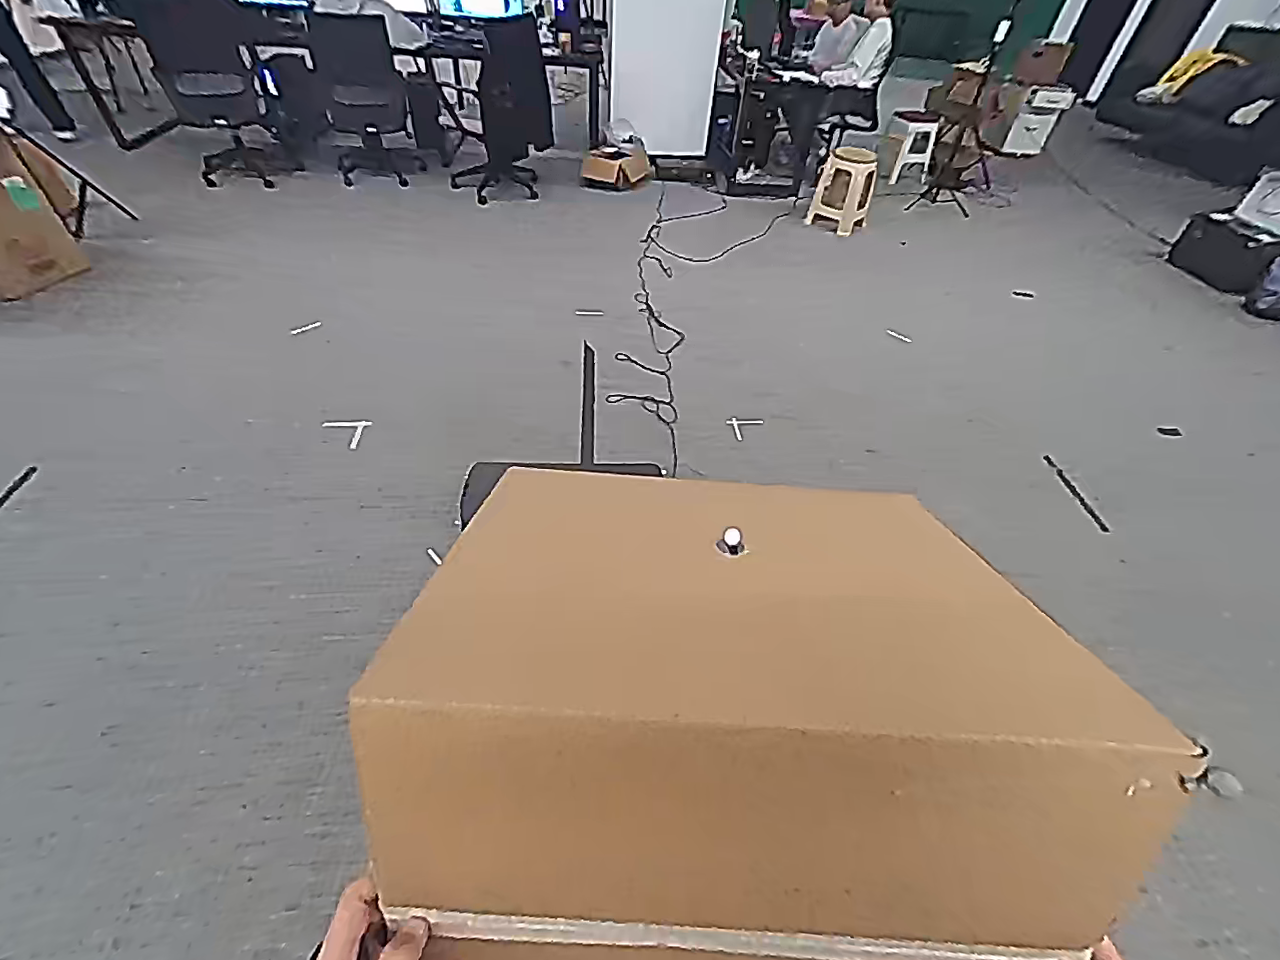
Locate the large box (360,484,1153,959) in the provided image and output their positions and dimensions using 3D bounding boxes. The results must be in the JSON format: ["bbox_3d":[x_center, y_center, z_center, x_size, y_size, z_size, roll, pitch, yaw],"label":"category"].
[{"bbox_3d":[0.052,0.203,0.459,0.408,0.320,0.320,3,23,-1],"label":"large box"}]
